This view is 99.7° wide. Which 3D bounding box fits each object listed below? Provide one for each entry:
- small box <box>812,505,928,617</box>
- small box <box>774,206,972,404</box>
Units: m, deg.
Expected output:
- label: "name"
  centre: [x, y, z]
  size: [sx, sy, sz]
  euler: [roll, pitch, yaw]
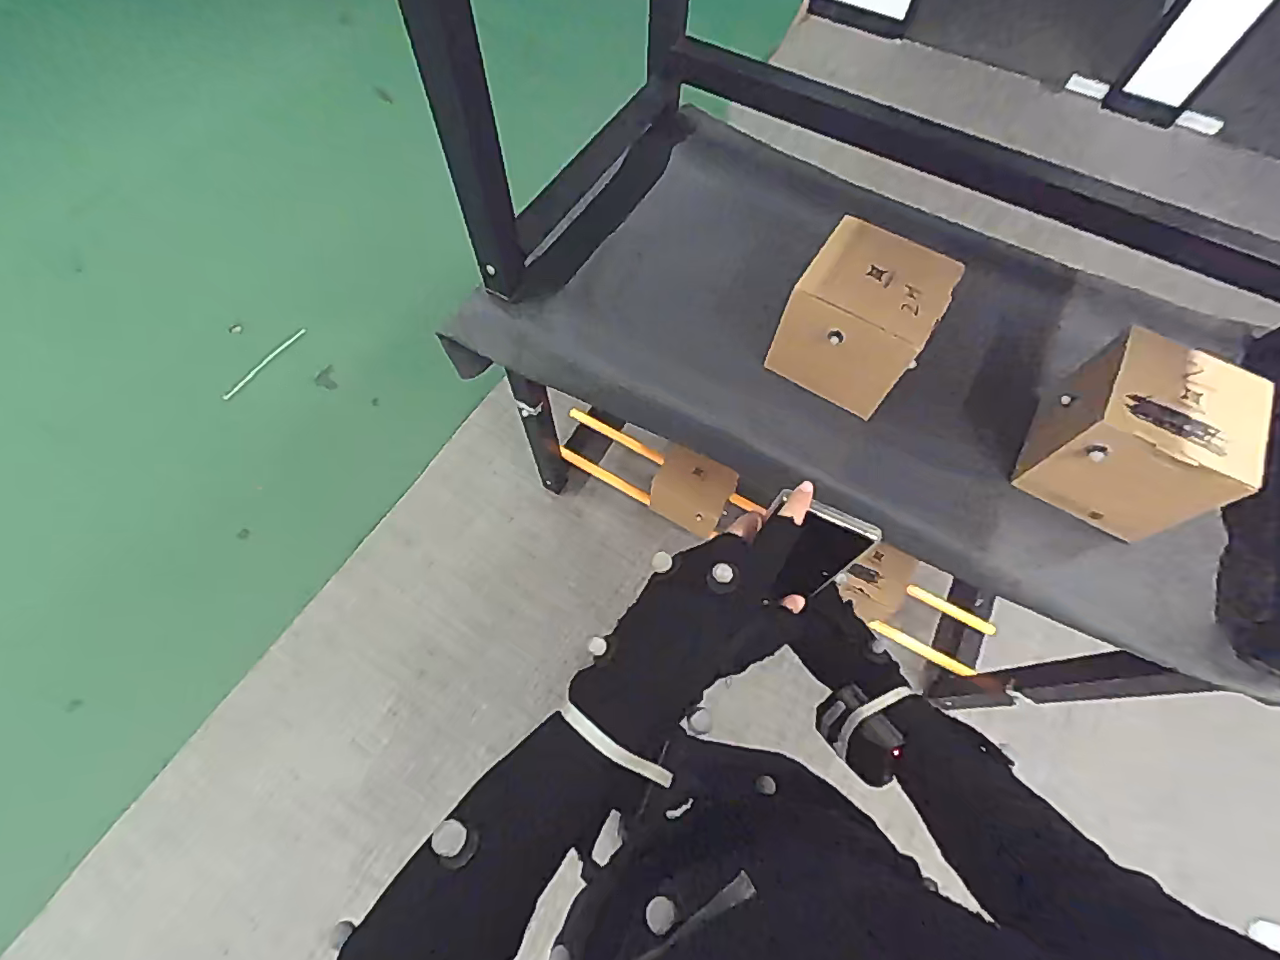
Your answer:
- label: "small box"
  centre: [0.521, 0.194, 1.252]
  size: [0.168, 0.176, 0.179]
  euler: [32, 69, 12]
- label: "small box"
  centre: [0.311, -0.236, 0.759]
  size: [0.179, 0.176, 0.168]
  euler: [31, 68, 12]
